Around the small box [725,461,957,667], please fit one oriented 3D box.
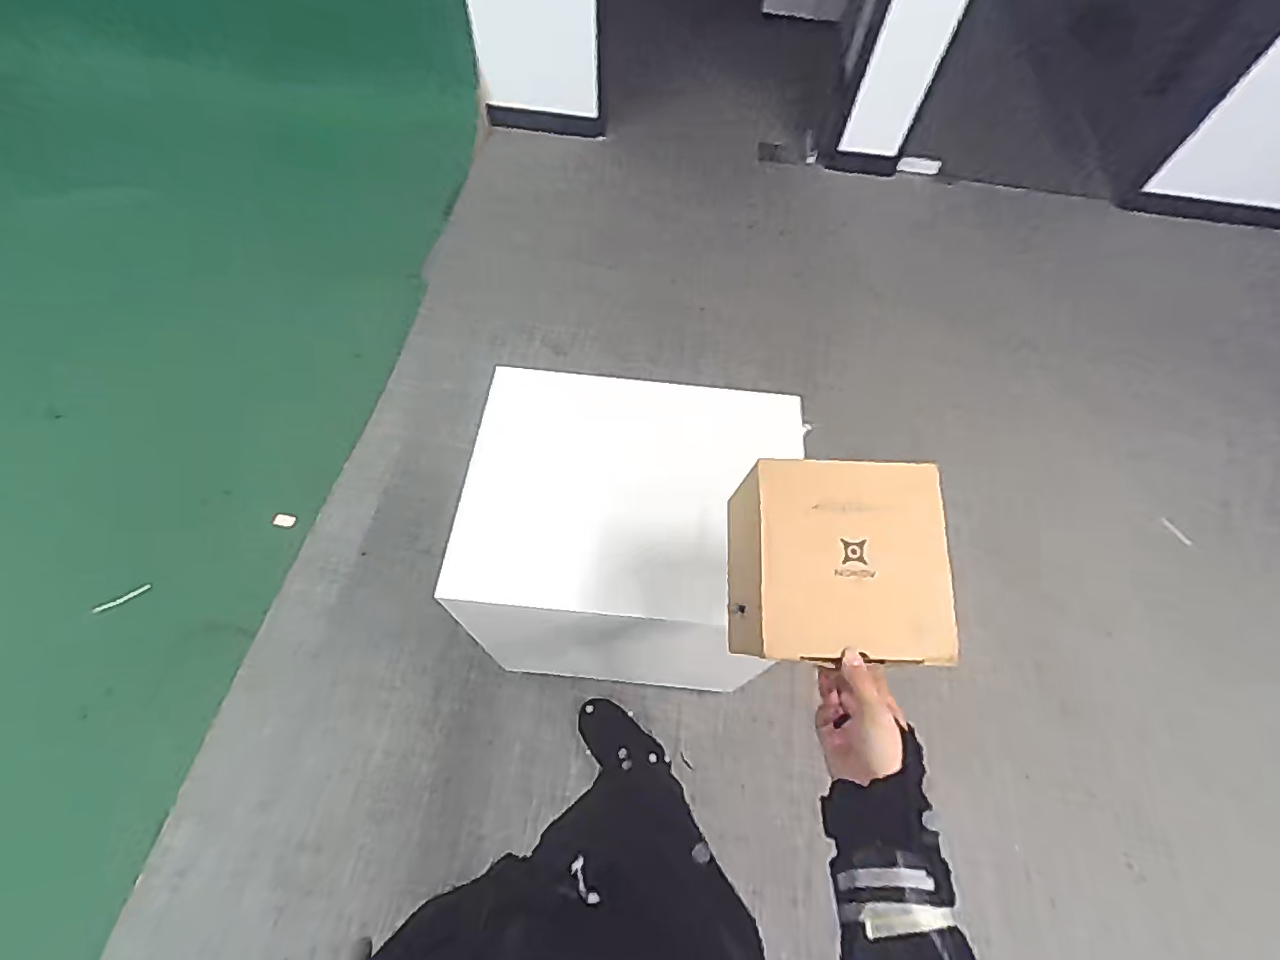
[{"bbox_3d":[0.183,0.091,0.547,0.168,0.176,0.179,2,72,-2],"label":"small box"}]
